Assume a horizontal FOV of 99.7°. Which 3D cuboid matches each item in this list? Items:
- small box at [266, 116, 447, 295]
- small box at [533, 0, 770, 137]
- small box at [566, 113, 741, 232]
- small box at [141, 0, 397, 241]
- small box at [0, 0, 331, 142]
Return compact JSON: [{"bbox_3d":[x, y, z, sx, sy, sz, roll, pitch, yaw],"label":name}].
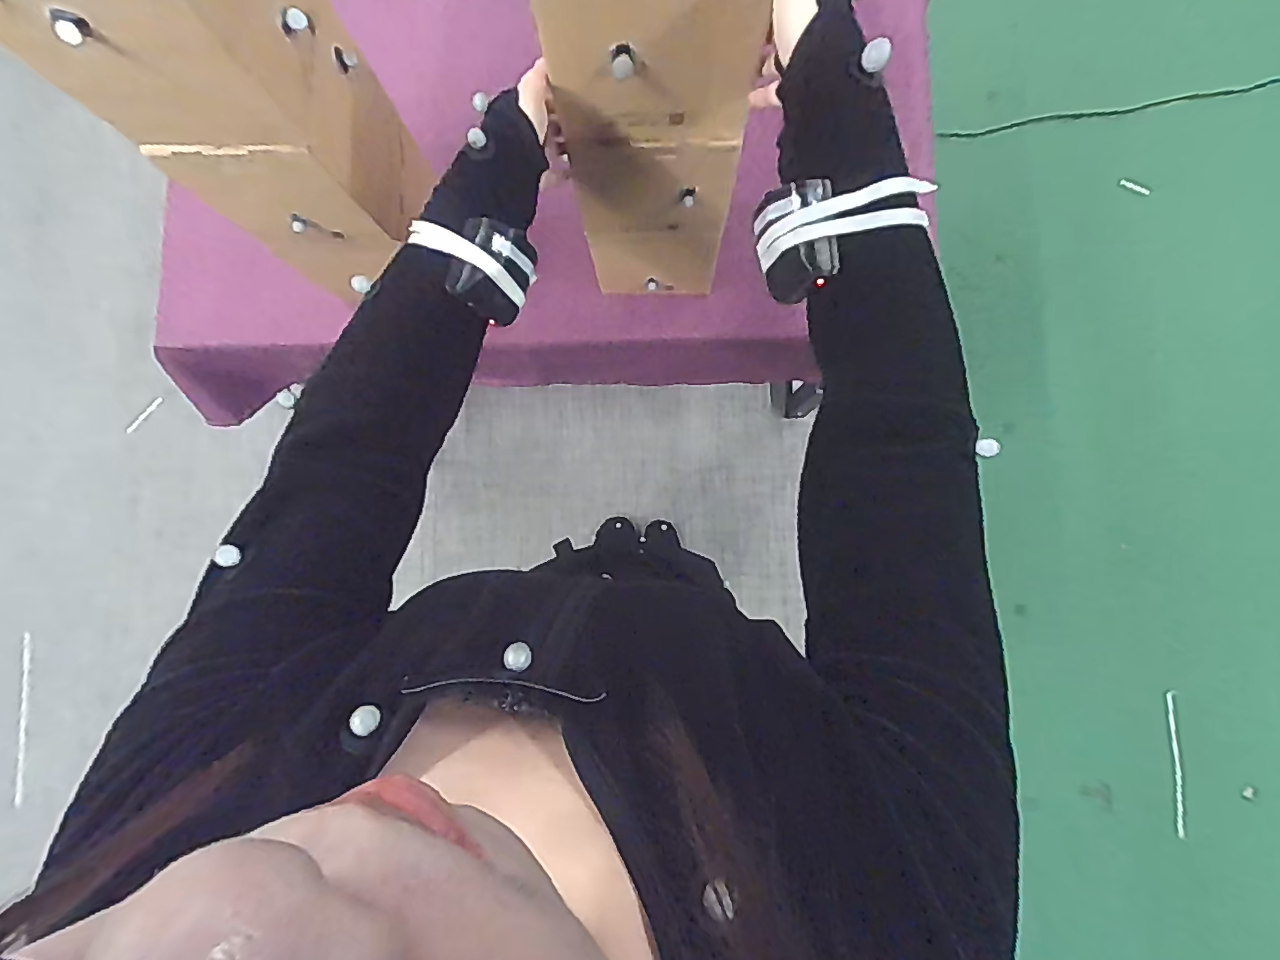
[{"bbox_3d":[-0.382,-0.372,0.760,0.179,0.176,0.168,-2,85,1],"label":"small box"},{"bbox_3d":[0.012,-0.402,0.423,0.168,0.176,0.179,0,86,1],"label":"small box"},{"bbox_3d":[0.016,-0.389,0.585,0.168,0.176,0.179,0,86,1],"label":"small box"},{"bbox_3d":[-0.387,-0.389,0.595,0.168,0.176,0.179,0,86,2],"label":"small box"},{"bbox_3d":[-0.386,-0.403,0.431,0.179,0.176,0.168,2,86,1],"label":"small box"}]
